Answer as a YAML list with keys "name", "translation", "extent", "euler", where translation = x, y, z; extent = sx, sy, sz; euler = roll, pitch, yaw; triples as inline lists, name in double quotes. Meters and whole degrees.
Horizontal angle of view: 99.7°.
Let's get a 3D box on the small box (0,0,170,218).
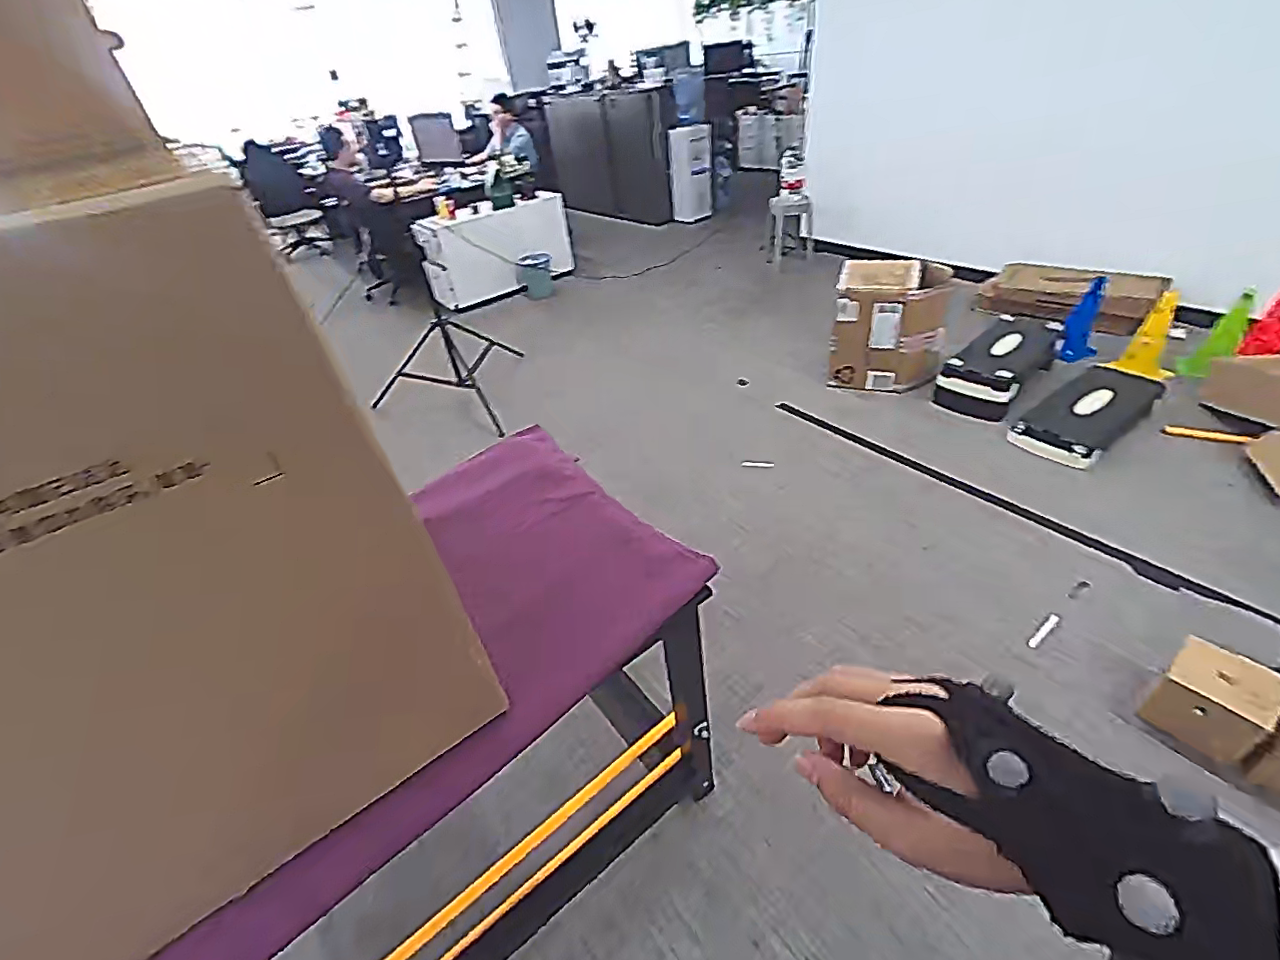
- name: "small box"
  translation: [-0.523, -0.321, 0.433]
  extent: [0.179, 0.176, 0.168]
  euler: [-35, 45, -27]
